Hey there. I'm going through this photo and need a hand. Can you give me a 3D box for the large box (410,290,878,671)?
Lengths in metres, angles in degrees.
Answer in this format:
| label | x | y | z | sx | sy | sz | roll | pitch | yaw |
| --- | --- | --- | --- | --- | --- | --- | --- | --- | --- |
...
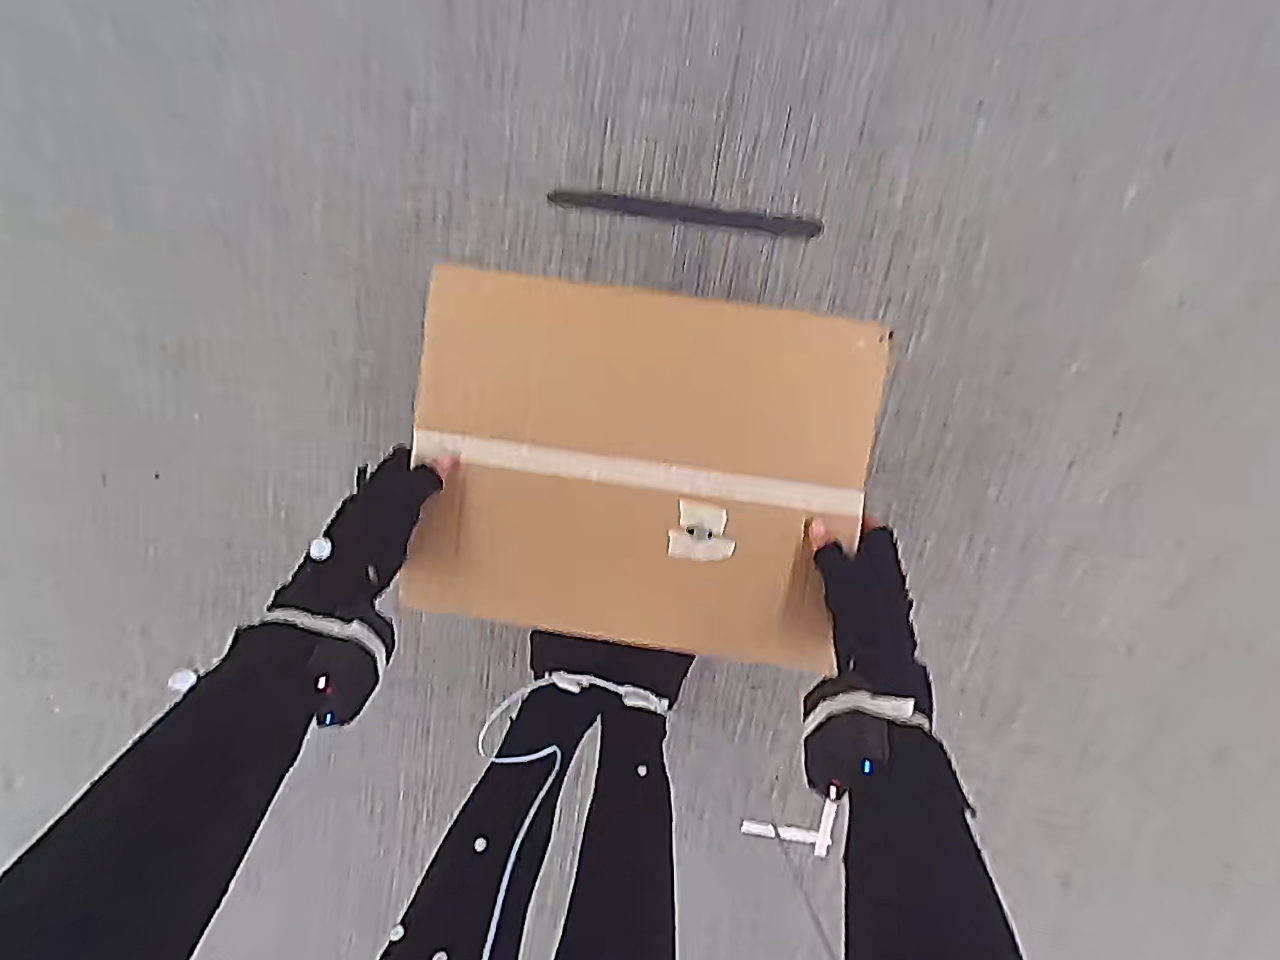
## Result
| label | x | y | z | sx | sy | sz | roll | pitch | yaw |
| --- | --- | --- | --- | --- | --- | --- | --- | --- | --- |
| large box | 0.001 | -0.006 | 0.641 | 0.408 | 0.320 | 0.320 | 8 | 94 | 2 |
